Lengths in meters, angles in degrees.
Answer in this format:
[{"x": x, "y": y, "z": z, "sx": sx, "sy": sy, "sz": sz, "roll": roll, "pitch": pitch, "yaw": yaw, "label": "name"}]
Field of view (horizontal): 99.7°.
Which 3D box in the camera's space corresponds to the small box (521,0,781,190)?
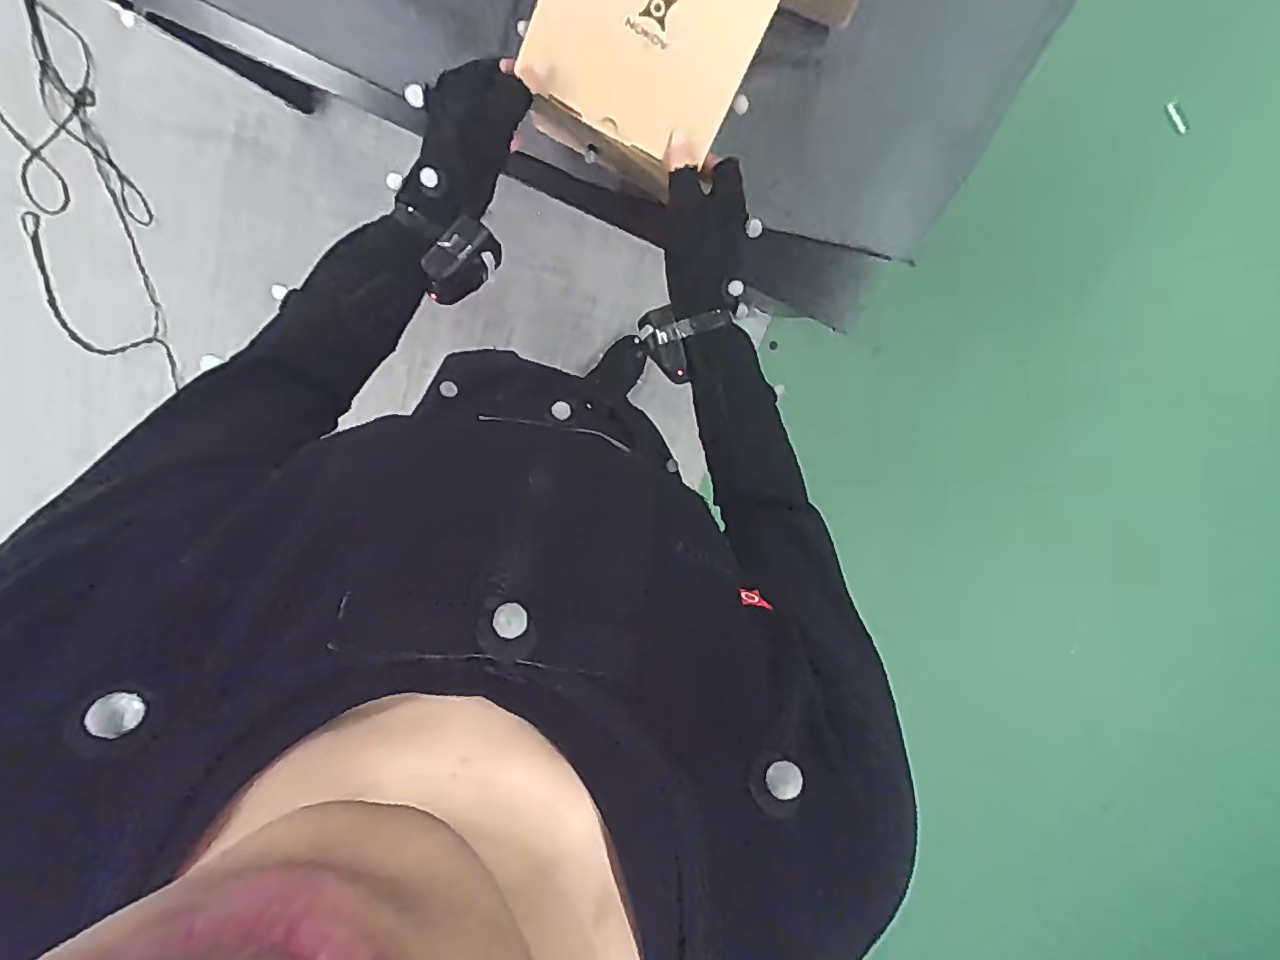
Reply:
[{"x": 0.008, "y": -0.391, "z": 0.488, "sx": 0.168, "sy": 0.176, "sz": 0.179, "roll": 23, "pitch": 111, "yaw": -13, "label": "small box"}]
